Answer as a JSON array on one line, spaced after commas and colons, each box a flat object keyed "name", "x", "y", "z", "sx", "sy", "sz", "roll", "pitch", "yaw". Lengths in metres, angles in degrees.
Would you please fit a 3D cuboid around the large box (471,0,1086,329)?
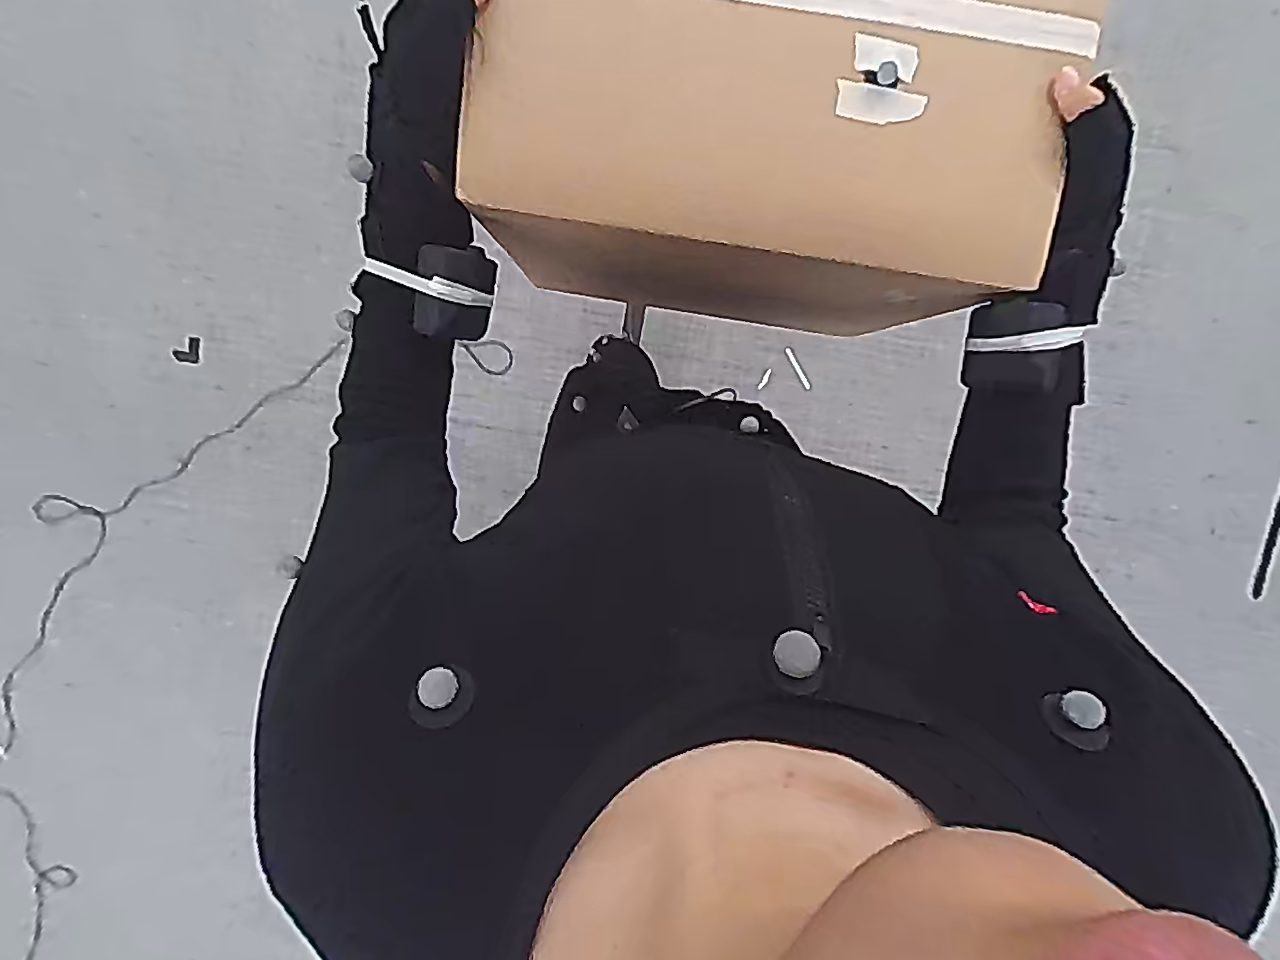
[{"name": "large box", "x": 0.090, "y": -0.337, "z": 0.505, "sx": 0.408, "sy": 0.320, "sz": 0.320, "roll": 7, "pitch": 100, "yaw": -3}]
